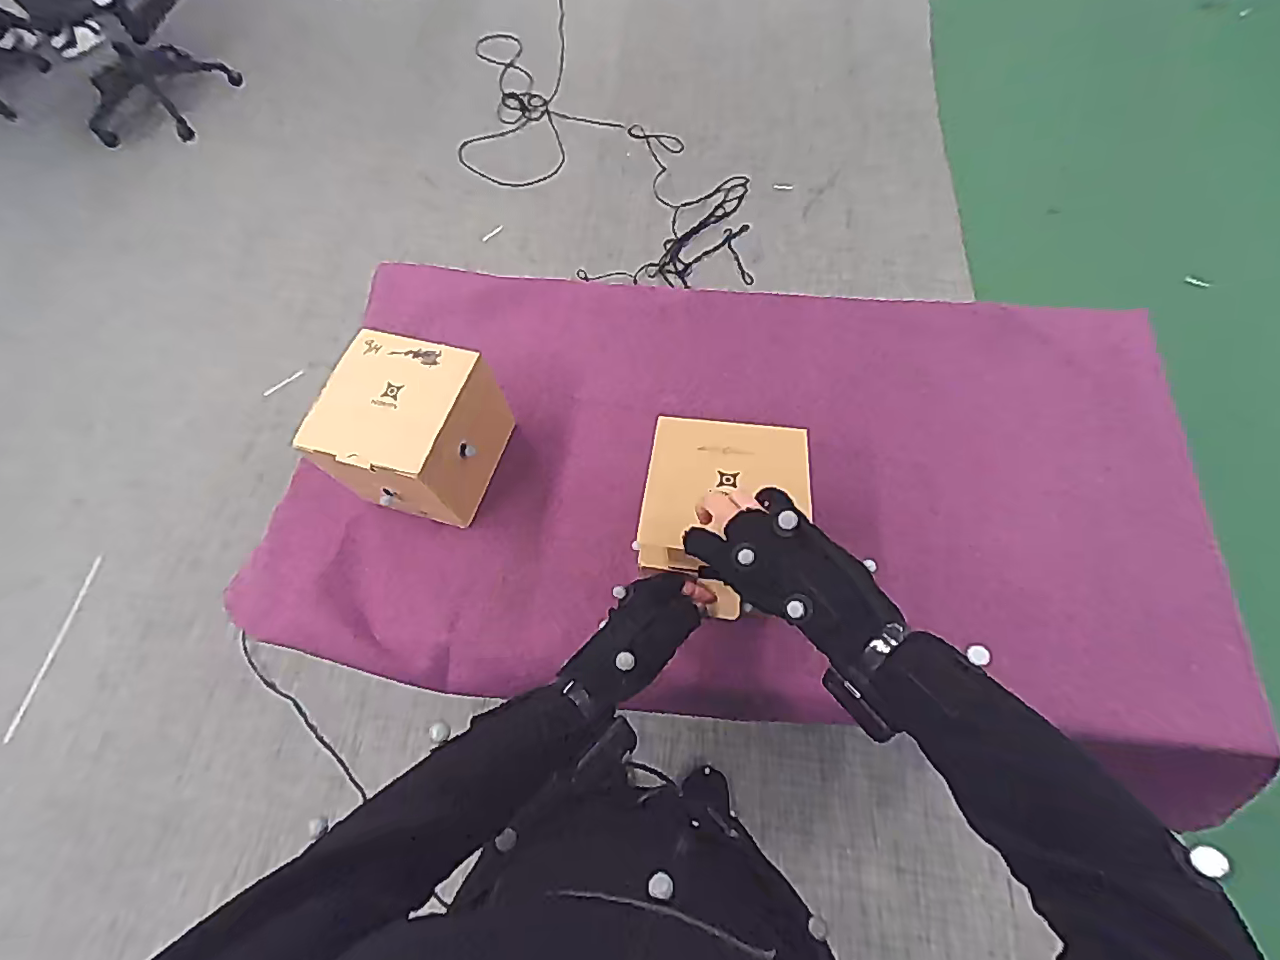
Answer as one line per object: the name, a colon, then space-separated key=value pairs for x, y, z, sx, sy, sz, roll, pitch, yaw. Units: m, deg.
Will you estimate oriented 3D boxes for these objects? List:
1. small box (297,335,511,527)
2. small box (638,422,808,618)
small box: x=-0.287 y=-0.056 z=0.709 sx=0.168 sy=0.176 sz=0.179 roll=14 pitch=67 yaw=9
small box: x=0.095 y=0.054 z=0.635 sx=0.168 sy=0.176 sz=0.179 roll=6 pitch=65 yaw=6
